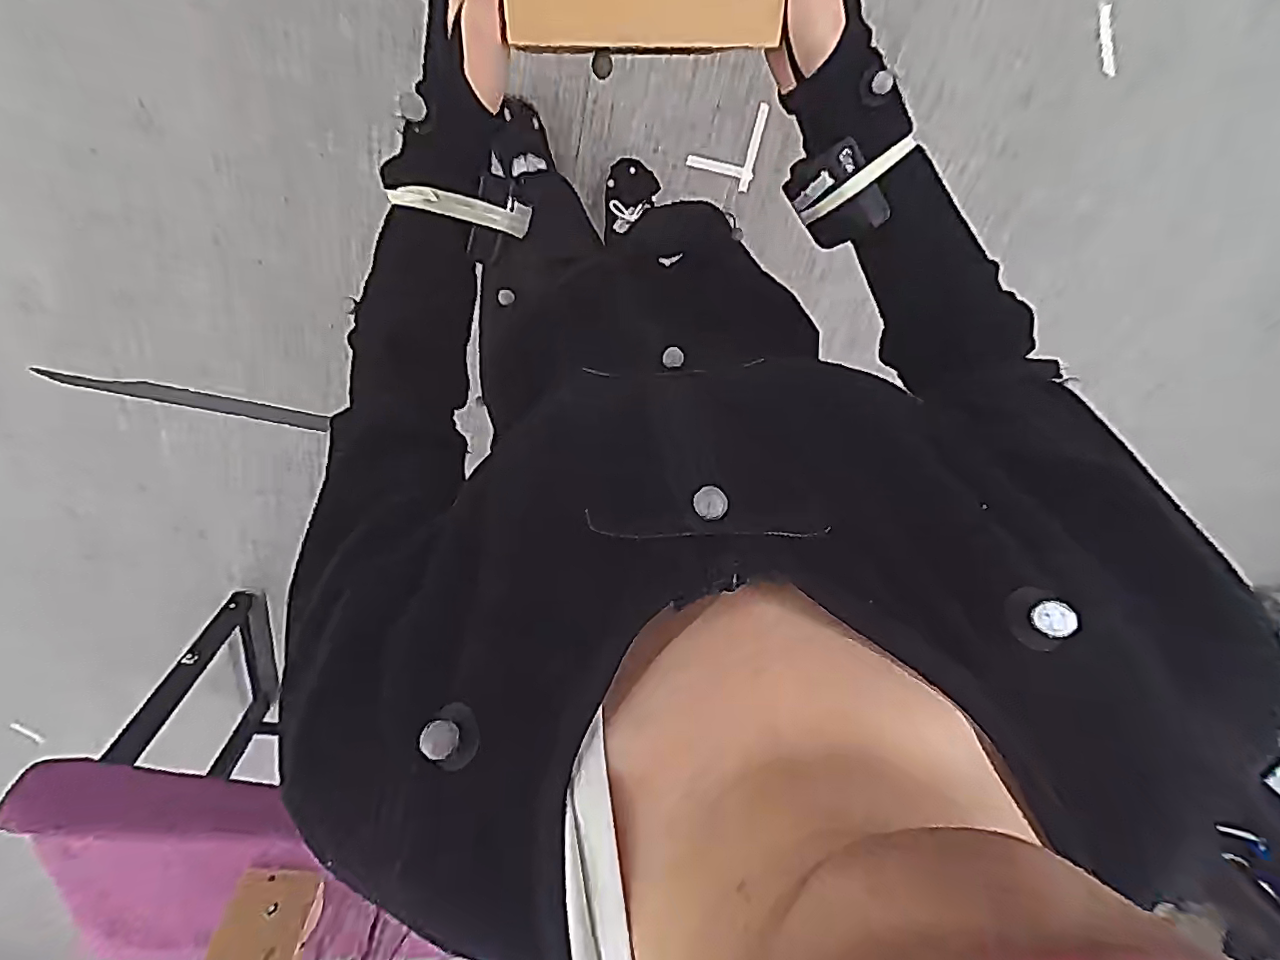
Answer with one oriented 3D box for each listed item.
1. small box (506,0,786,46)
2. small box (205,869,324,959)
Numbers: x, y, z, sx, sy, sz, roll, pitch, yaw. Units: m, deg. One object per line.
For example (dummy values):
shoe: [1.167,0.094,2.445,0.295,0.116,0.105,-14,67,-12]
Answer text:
small box: [-0.003,-0.381,0.331,0.168,0.176,0.179,-4,126,-6]
small box: [-0.830,1.003,1.210,0.168,0.176,0.179,13,119,-13]
